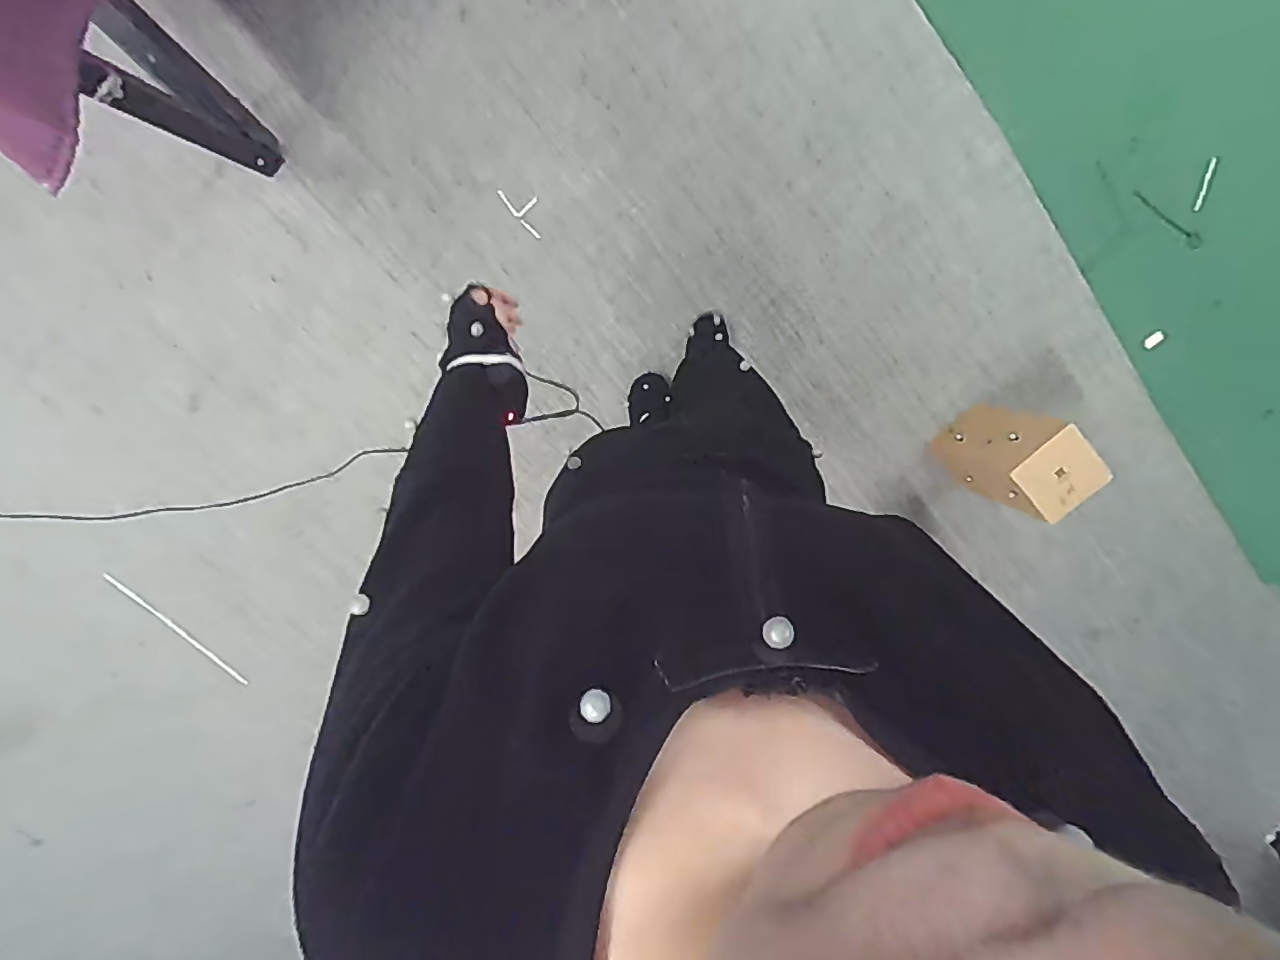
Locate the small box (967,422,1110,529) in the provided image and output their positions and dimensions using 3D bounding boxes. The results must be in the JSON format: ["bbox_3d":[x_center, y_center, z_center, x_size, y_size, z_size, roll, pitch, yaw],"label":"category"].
[{"bbox_3d":[0.918,-0.021,1.264,0.168,0.176,0.179,-42,102,10],"label":"small box"}]

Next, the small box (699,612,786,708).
[{"bbox_3d":[0.287,0.507,1.558,0.168,0.176,0.179,-38,102,8],"label":"small box"}]

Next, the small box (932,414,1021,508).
[{"bbox_3d":[0.915,-0.060,1.424,0.168,0.176,0.179,-41,102,10],"label":"small box"}]
